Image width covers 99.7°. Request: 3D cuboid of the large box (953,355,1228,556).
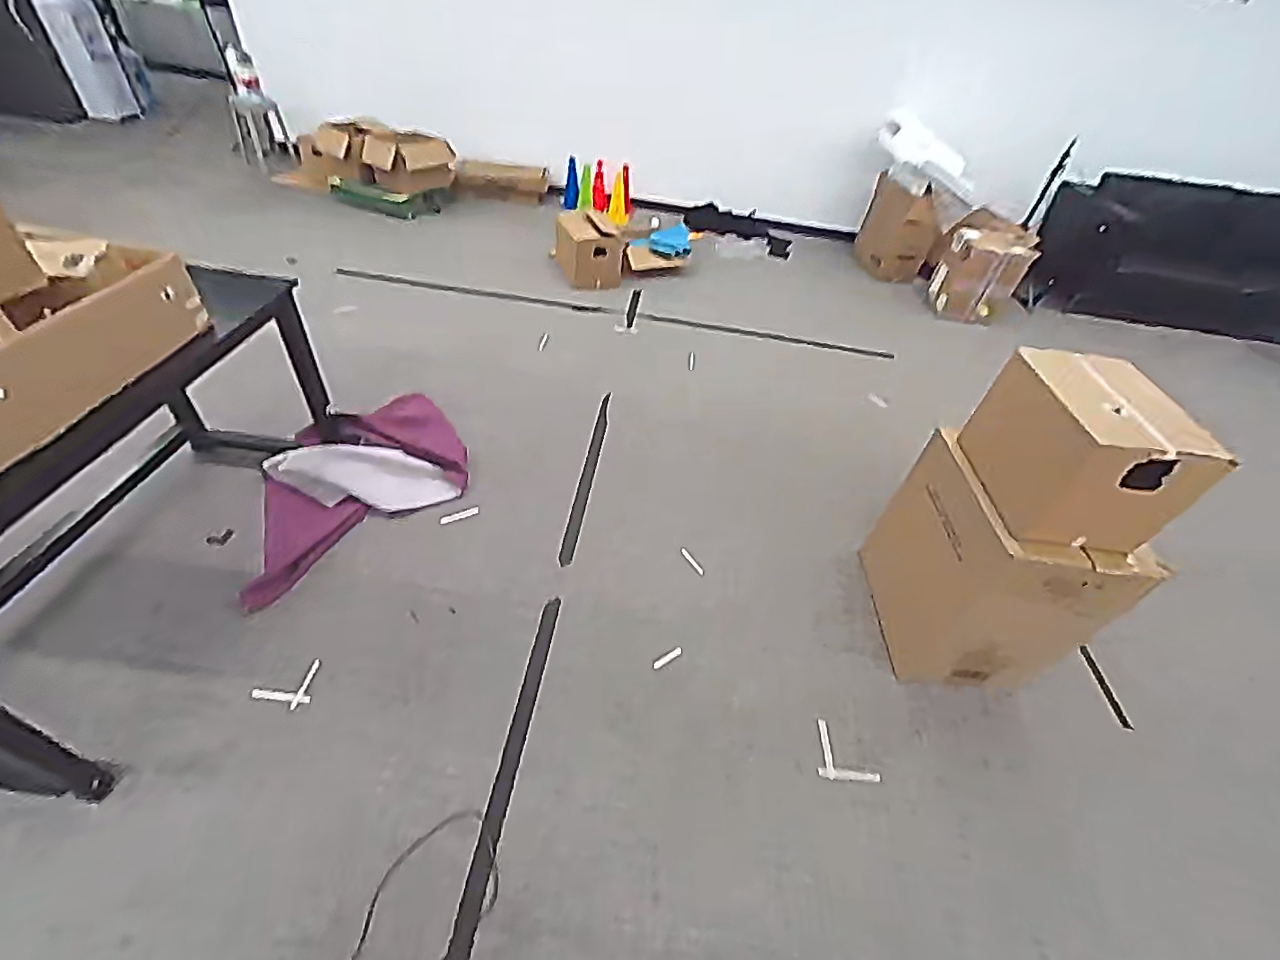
[{"bbox_3d":[1.093,-0.068,1.386,0.320,0.320,0.408,6,44,-2],"label":"large box"}]
